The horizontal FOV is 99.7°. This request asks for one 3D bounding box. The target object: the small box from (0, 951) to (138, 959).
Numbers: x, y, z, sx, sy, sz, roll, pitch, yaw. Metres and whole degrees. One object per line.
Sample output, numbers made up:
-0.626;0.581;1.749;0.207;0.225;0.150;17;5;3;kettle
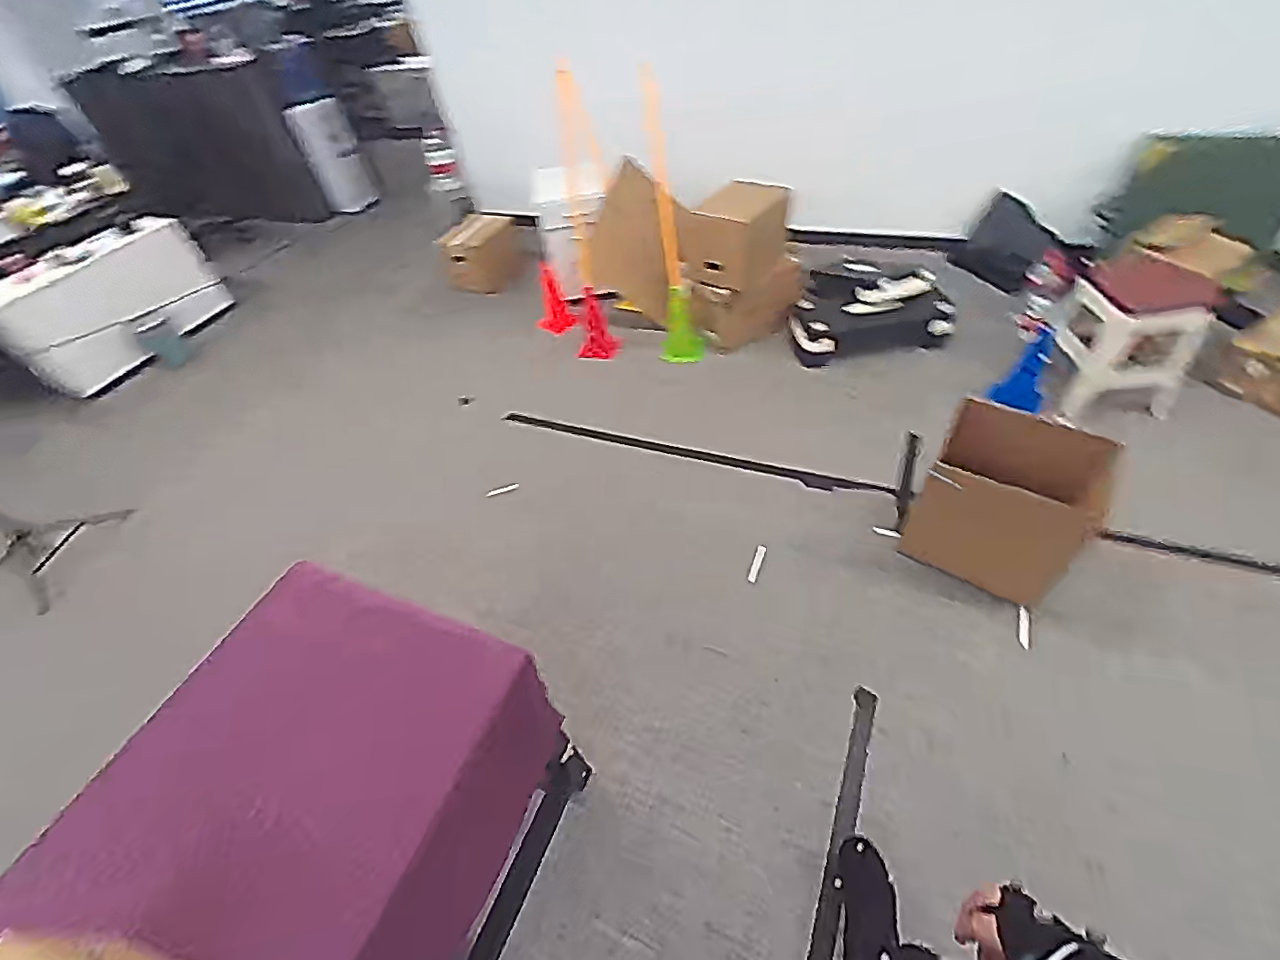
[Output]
-0.672;0.673;0.623;0.179;0.176;0.168;4;49;15;small box
